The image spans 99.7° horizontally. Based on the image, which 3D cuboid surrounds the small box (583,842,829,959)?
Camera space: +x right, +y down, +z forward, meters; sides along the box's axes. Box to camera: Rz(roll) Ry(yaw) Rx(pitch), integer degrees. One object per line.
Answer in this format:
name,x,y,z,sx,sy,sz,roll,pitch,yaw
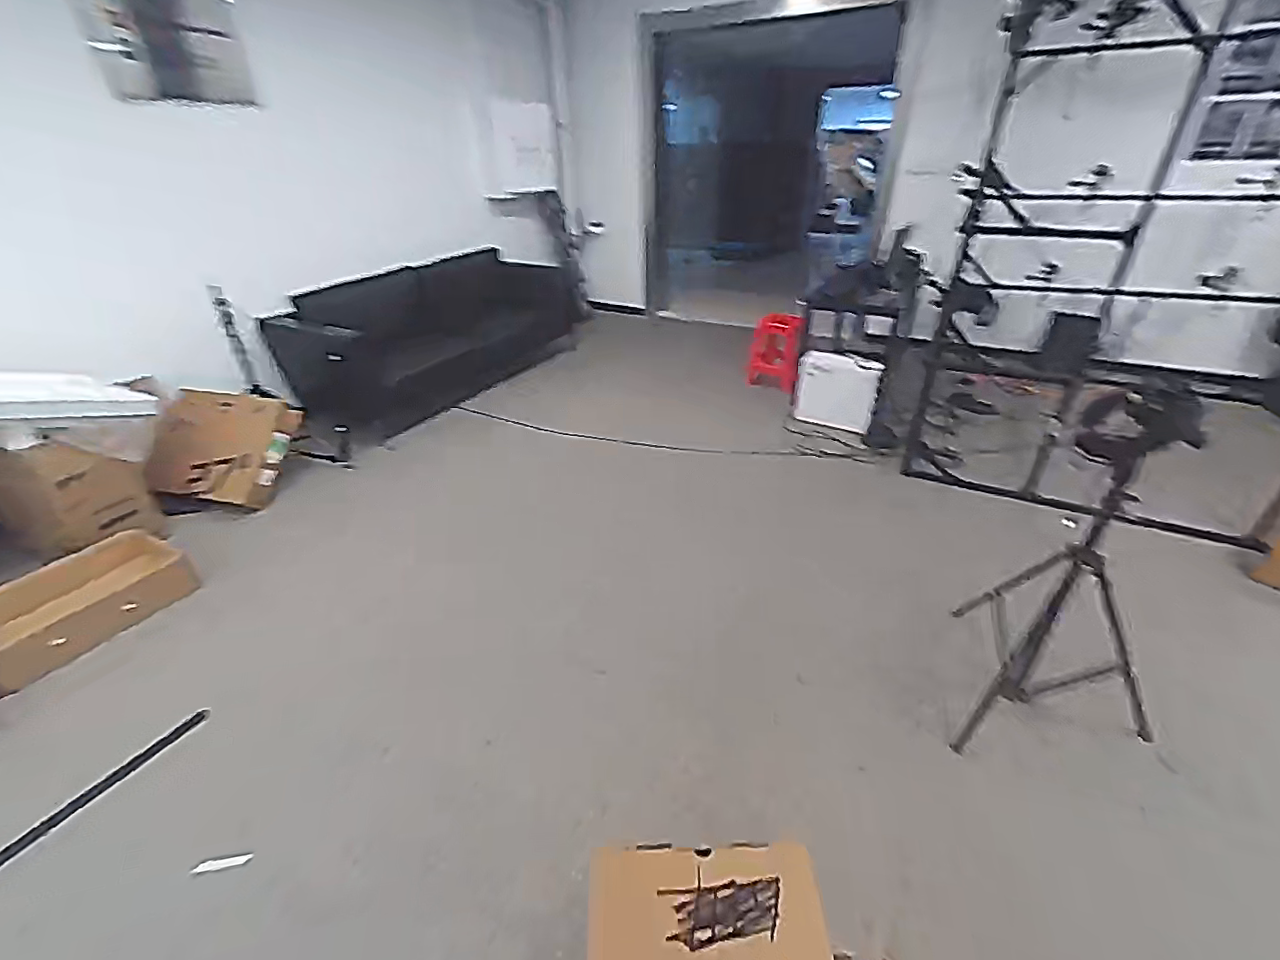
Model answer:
small box,0.041,0.395,0.396,0.168,0.176,0.179,1,40,-5
